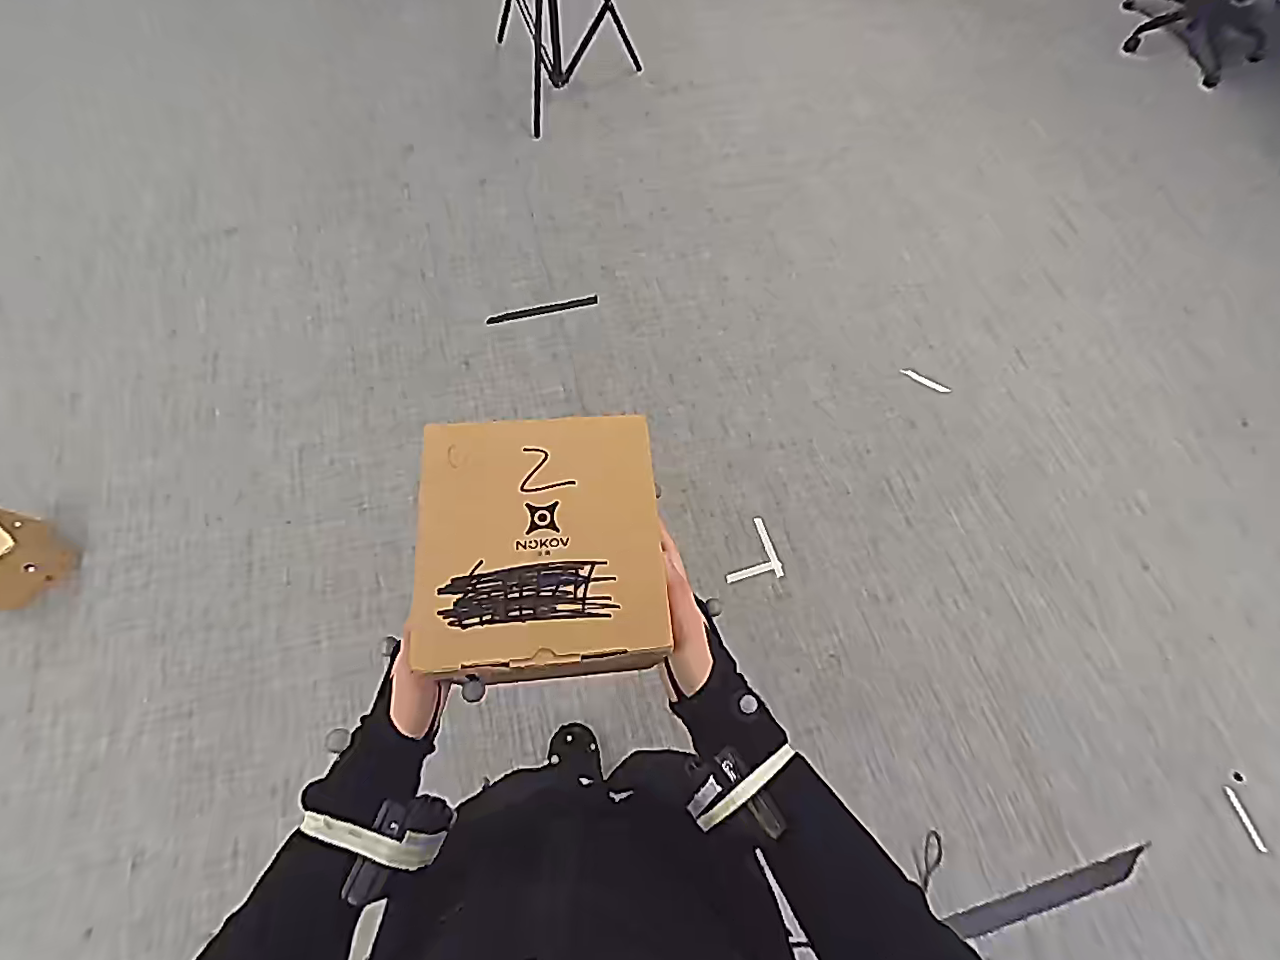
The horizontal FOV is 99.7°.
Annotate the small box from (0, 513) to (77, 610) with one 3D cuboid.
[{"bbox_3d":[-1.532,0.192,1.292,0.179,0.176,0.168,35,69,12],"label":"small box"}]
